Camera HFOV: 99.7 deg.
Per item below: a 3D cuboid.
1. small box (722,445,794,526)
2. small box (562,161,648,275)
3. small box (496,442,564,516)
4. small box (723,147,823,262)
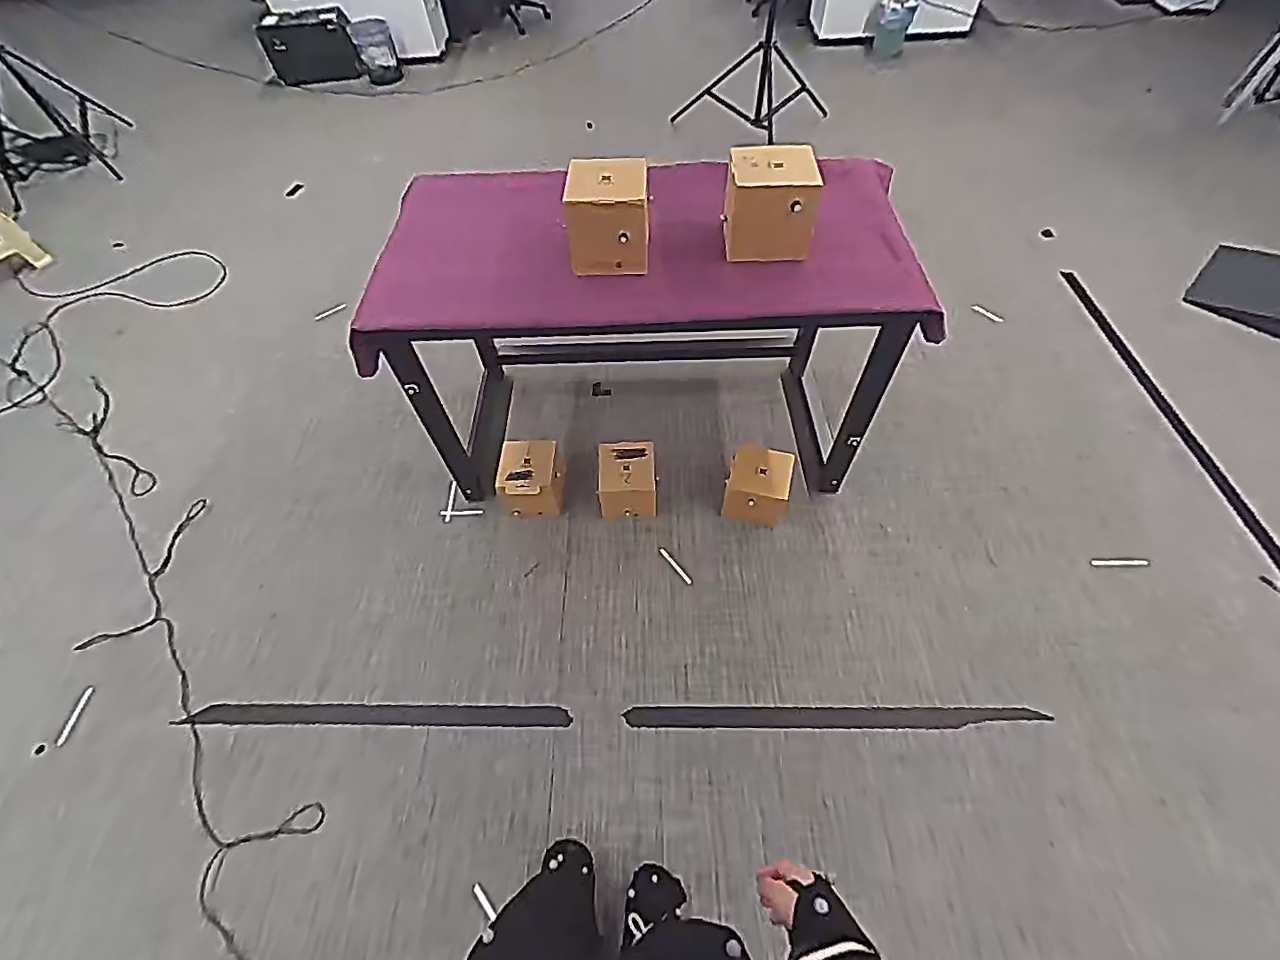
[{"bbox_3d":[0.354,0.021,1.640,0.179,0.176,0.168,12,58,12],"label":"small box"},{"bbox_3d":[-0.068,-0.562,1.172,0.168,0.176,0.179,0,54,1],"label":"small box"},{"bbox_3d":[-0.336,0.000,1.682,0.168,0.176,0.179,-1,55,2],"label":"small box"},{"bbox_3d":[0.280,-0.595,1.177,0.179,0.176,0.168,0,55,3],"label":"small box"}]
